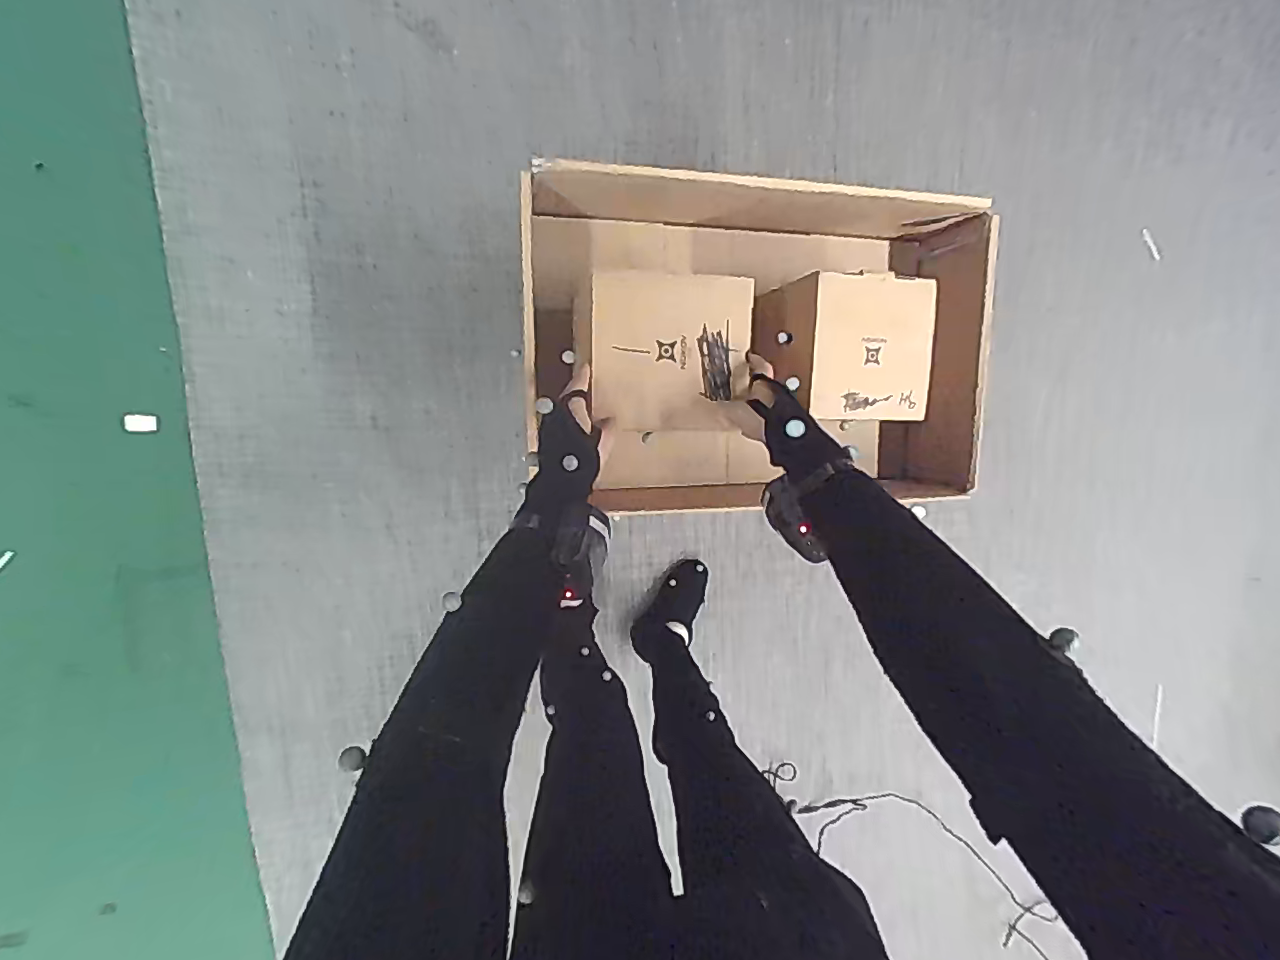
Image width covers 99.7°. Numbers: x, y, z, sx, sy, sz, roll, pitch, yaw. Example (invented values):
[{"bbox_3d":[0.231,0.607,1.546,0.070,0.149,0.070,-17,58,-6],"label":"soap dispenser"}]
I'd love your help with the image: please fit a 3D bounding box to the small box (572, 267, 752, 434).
[{"bbox_3d":[0.017,-0.141,0.647,0.179,0.176,0.168,0,94,-13],"label":"small box"}]
